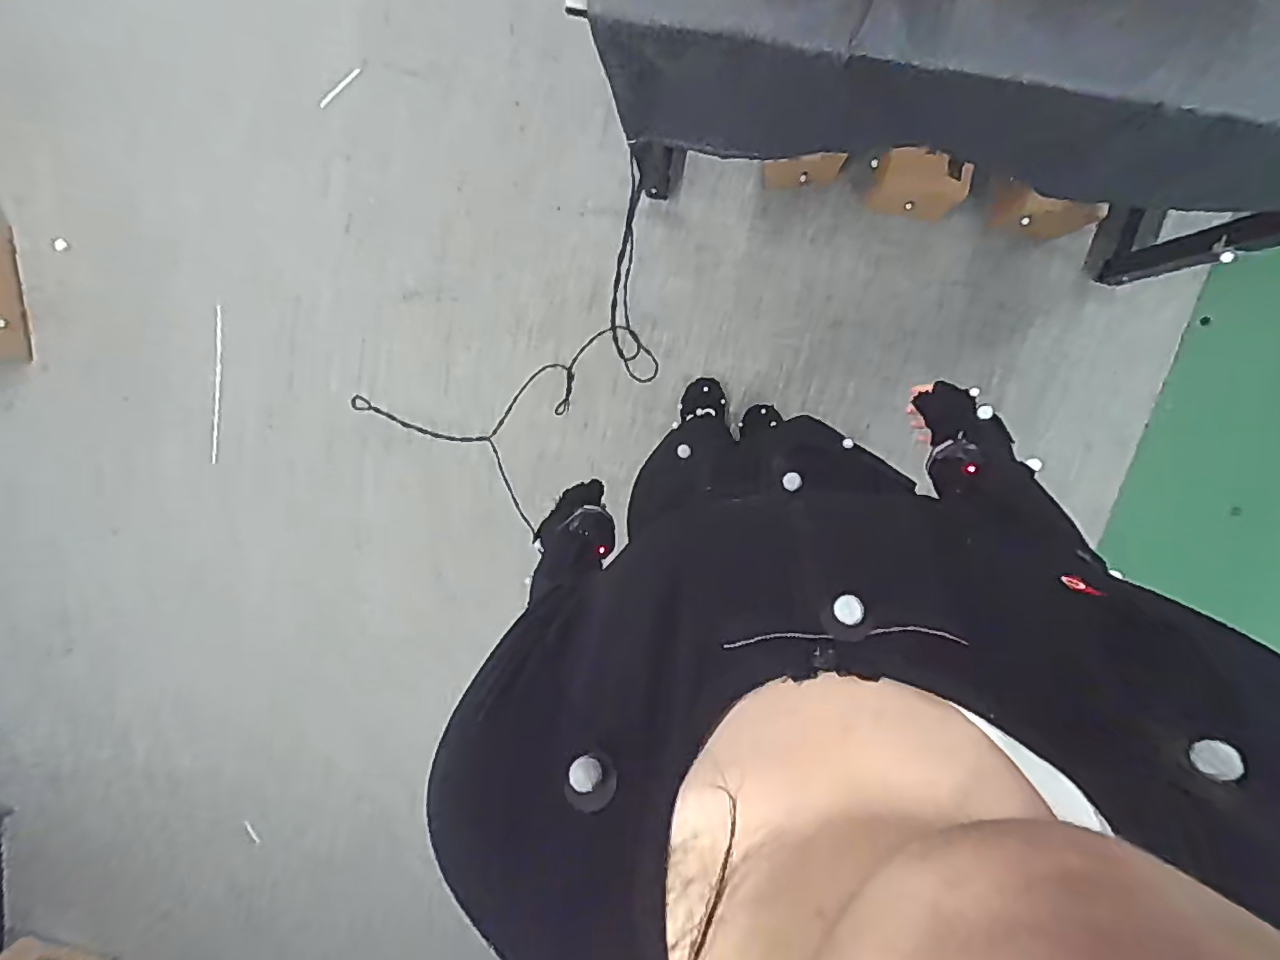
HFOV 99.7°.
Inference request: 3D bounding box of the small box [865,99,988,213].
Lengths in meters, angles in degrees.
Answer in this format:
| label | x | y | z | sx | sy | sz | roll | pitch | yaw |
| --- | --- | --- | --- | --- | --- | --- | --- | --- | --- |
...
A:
| label | x | y | z | sx | sy | sz | roll | pitch | yaw |
| --- | --- | --- | --- | --- | --- | --- | --- | --- | --- |
| small box | 0.637 | -0.722 | 1.225 | 0.179 | 0.176 | 0.168 | 11 | 101 | 6 |
